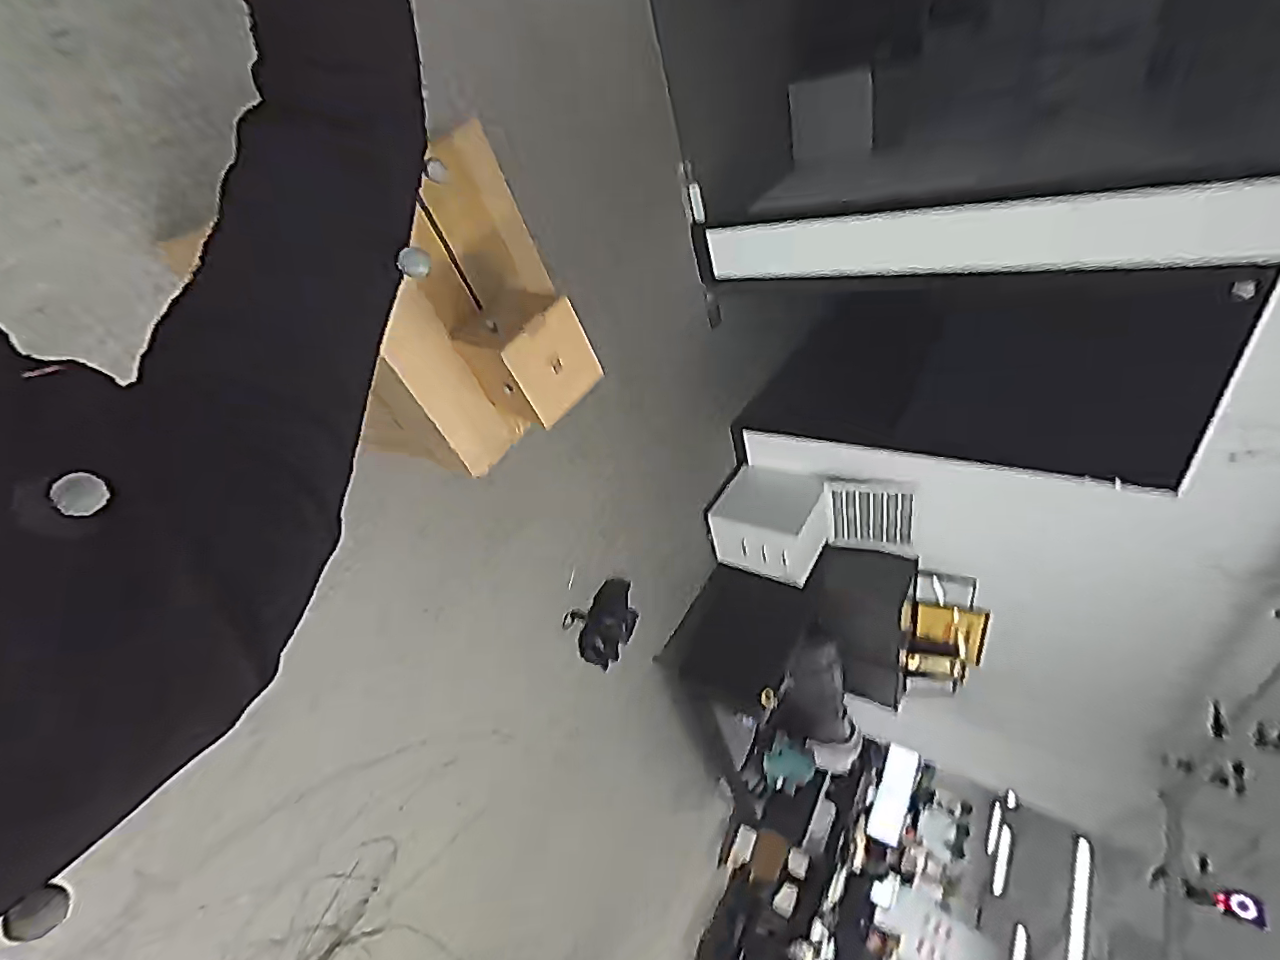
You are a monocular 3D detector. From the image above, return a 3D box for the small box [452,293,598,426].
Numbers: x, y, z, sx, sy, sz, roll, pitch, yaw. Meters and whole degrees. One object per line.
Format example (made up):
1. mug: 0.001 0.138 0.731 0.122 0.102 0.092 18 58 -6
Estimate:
1. small box: -0.216 -0.232 1.013 0.168 0.176 0.179 -48 139 -21
